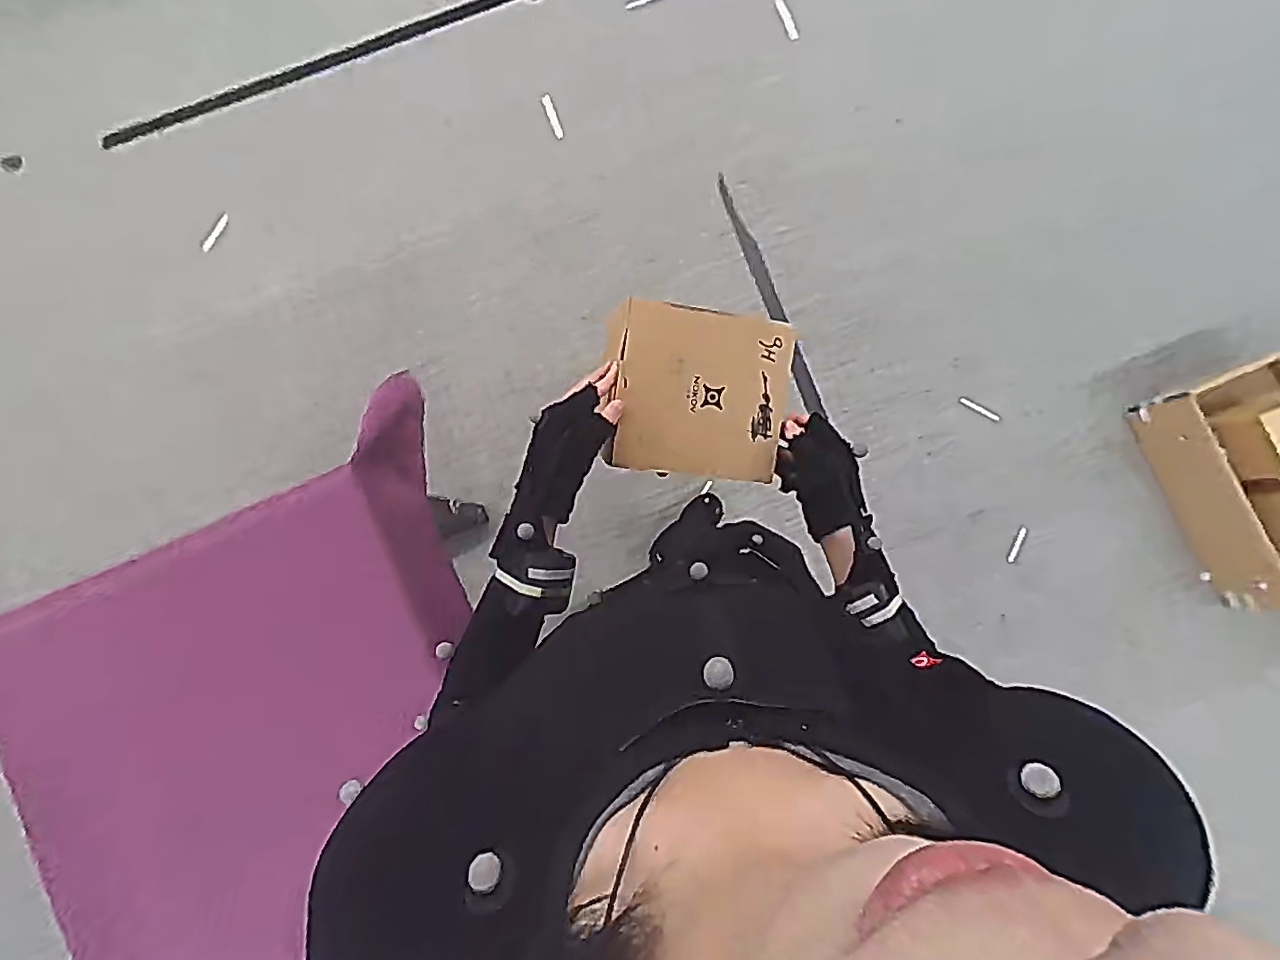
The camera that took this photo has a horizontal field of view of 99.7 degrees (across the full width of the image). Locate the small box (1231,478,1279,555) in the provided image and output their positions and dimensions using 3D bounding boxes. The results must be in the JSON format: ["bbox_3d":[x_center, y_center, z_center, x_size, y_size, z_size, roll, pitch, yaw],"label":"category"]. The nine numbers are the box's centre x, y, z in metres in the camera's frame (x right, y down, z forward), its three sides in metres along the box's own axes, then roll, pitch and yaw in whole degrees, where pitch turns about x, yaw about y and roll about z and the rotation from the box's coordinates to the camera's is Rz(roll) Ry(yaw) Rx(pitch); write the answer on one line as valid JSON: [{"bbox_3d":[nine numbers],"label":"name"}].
[{"bbox_3d":[1.713,0.091,1.390,0.168,0.176,0.179,-22,82,-2],"label":"small box"}]
